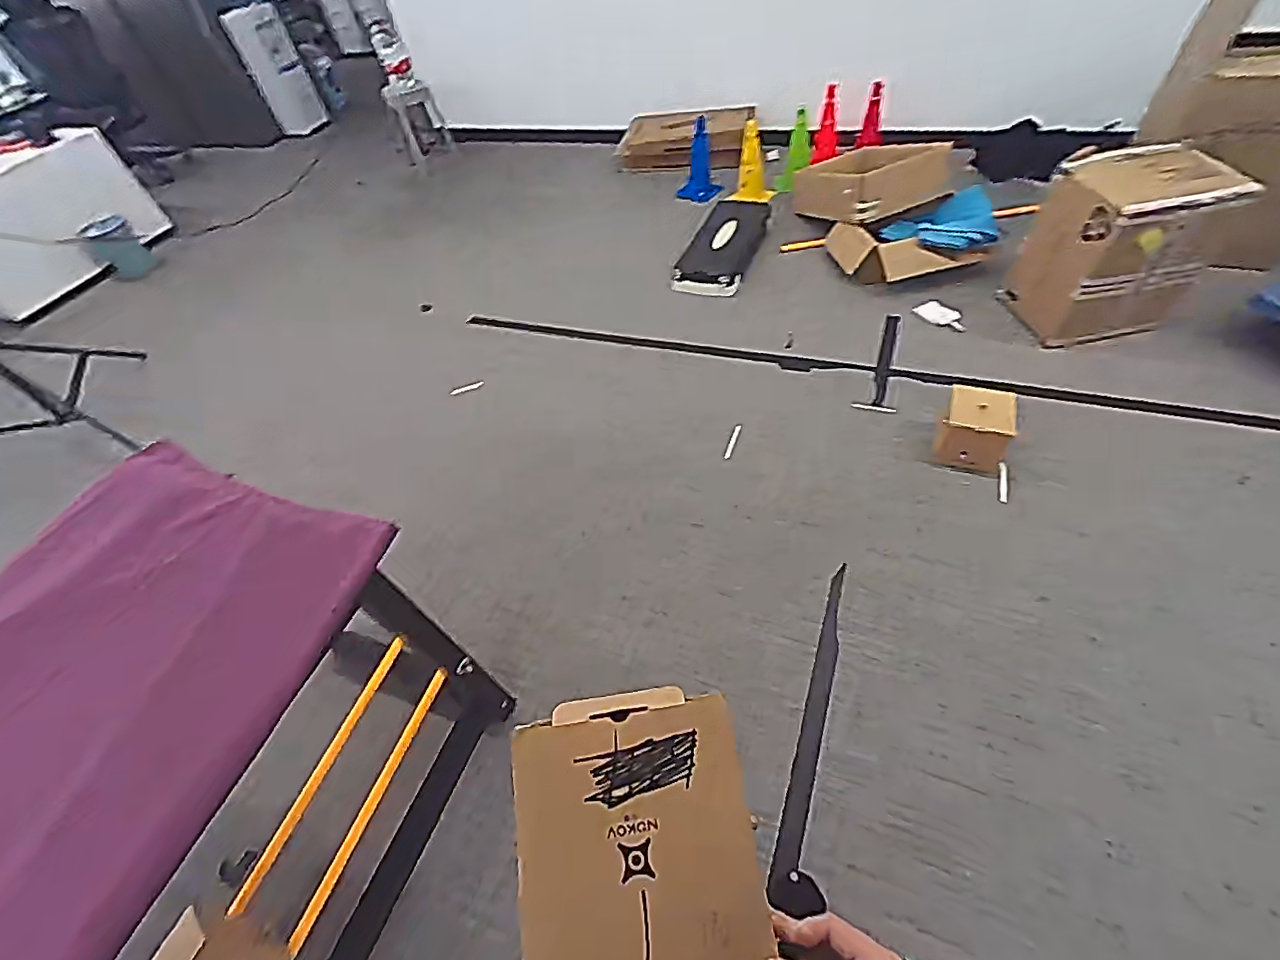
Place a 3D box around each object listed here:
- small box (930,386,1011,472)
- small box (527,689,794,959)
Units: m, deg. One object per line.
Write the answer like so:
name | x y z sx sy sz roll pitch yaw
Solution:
small box | 0.988 -0.152 1.624 0.168 0.176 0.179 13 55 18
small box | 0.008 0.282 0.439 0.168 0.176 0.179 -8 64 -2
